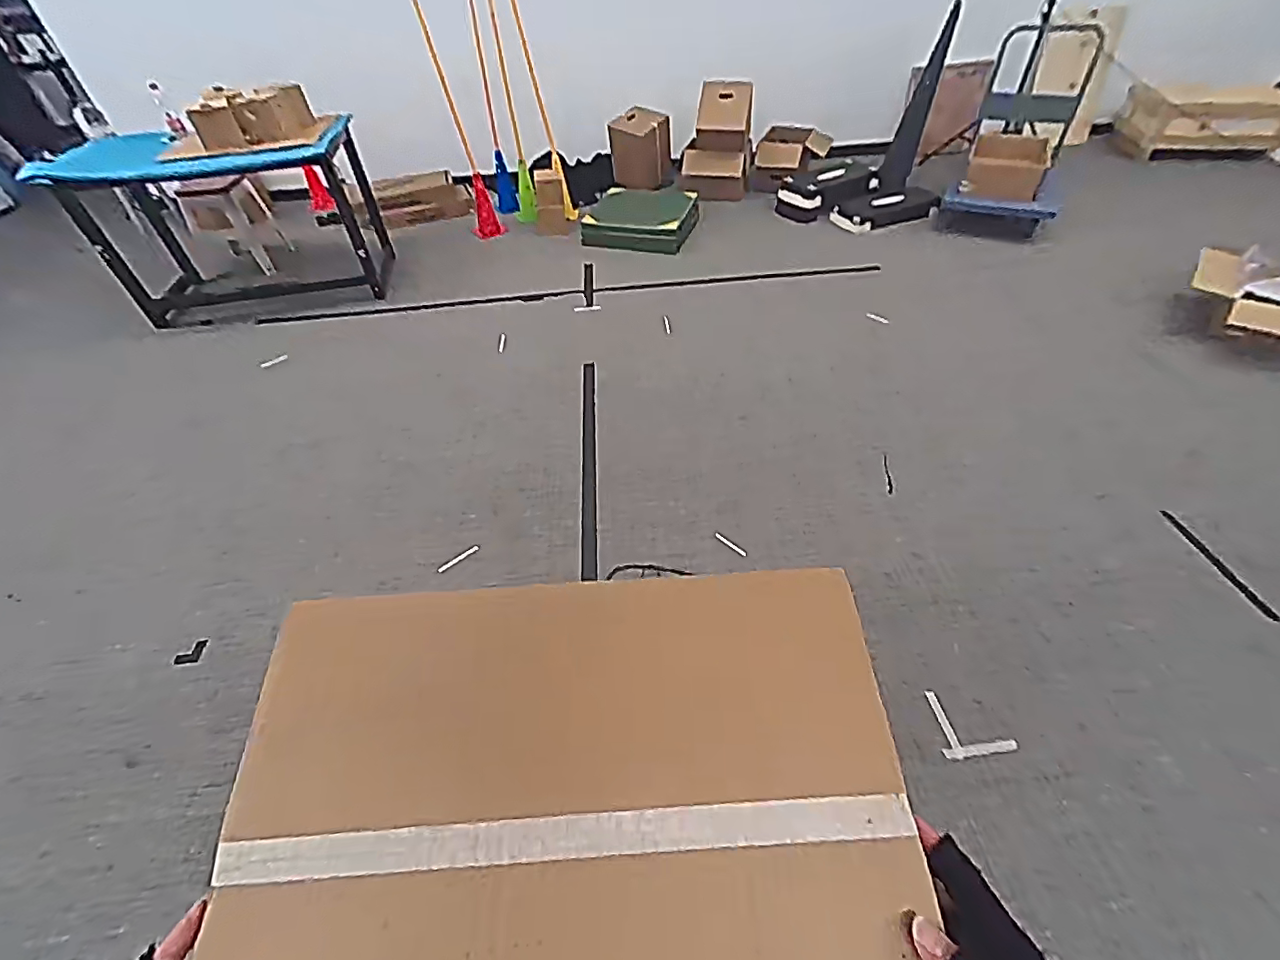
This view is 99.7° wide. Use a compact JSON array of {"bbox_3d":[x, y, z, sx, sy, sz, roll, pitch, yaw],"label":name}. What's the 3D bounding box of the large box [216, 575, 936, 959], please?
[{"bbox_3d":[-0.038,0.292,0.454,0.408,0.320,0.320,-3,60,0],"label":"large box"}]
